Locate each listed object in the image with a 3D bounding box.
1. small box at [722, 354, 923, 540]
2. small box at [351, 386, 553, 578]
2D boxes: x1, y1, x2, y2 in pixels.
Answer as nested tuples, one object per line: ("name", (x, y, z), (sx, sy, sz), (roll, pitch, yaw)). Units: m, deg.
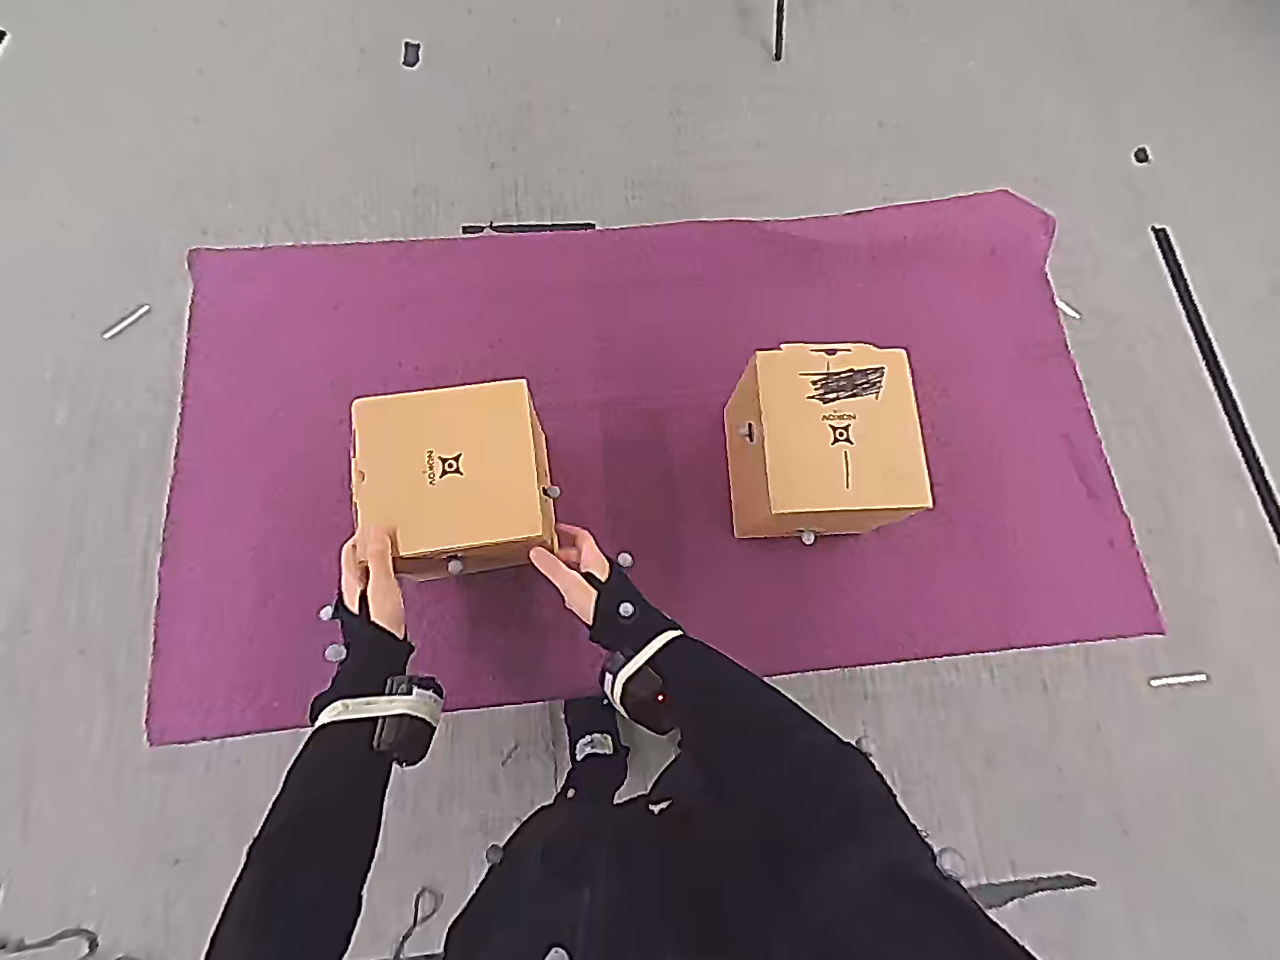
("small box", (0.196, -0.031, 0.635), (0.168, 0.176, 0.179), (-2, 76, -3))
("small box", (-0.195, 0.012, 0.605), (0.179, 0.176, 0.168), (-9, 75, -4))
